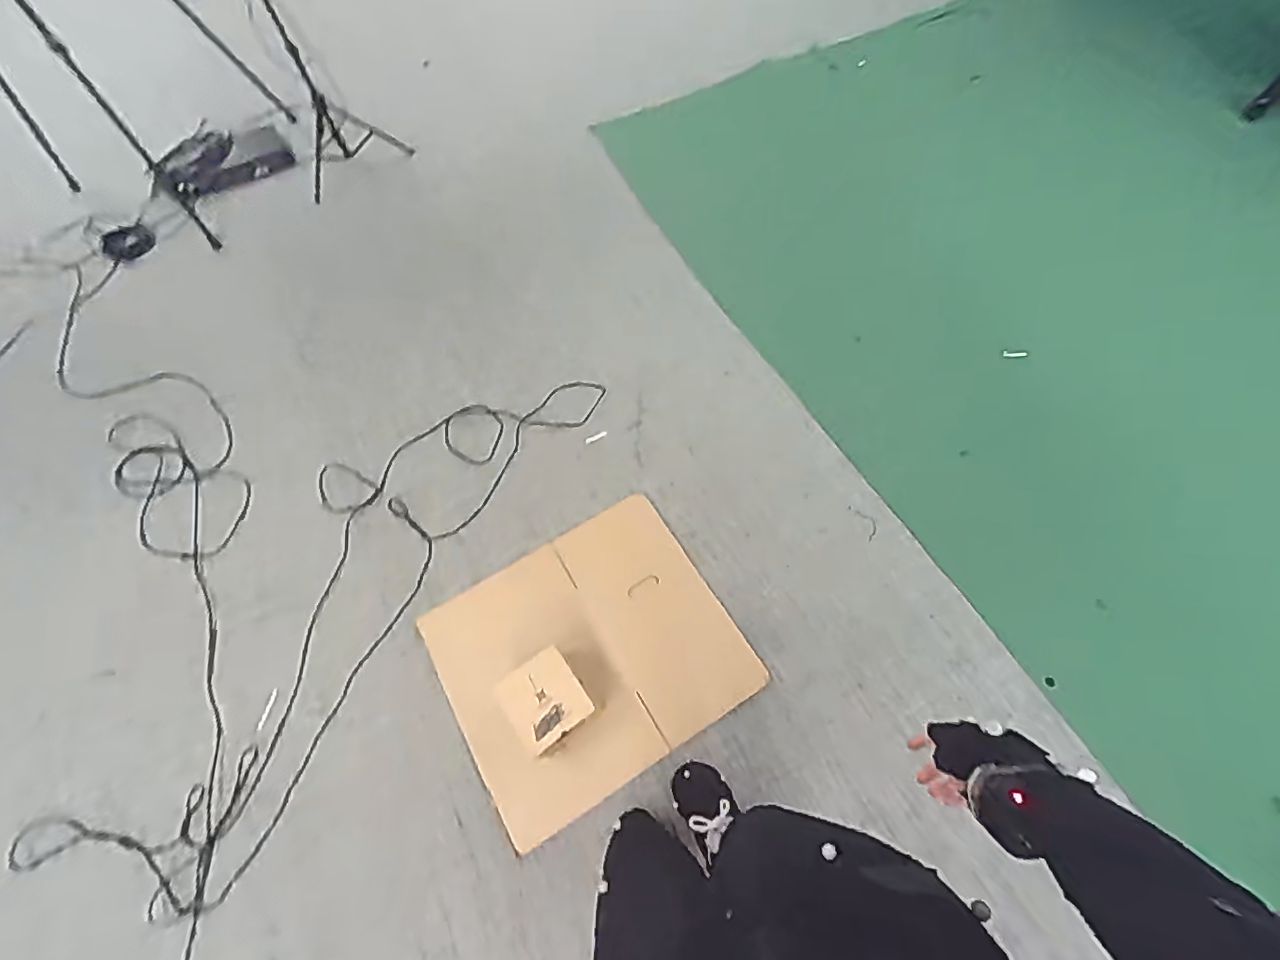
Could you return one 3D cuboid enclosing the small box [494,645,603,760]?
[{"bbox_3d":[-0.200,0.505,1.234,0.168,0.176,0.179,-35,68,-13],"label":"small box"}]
